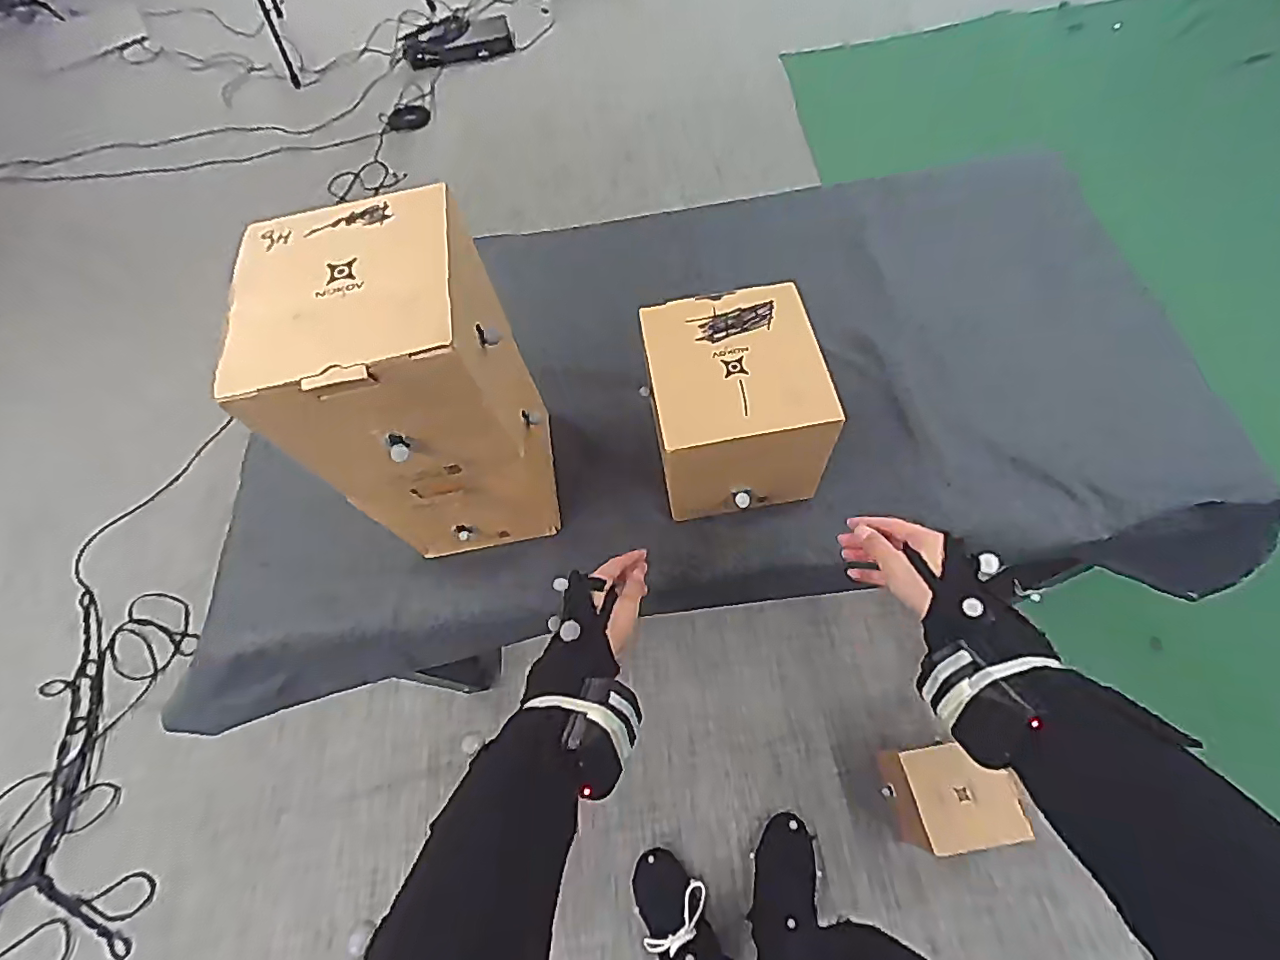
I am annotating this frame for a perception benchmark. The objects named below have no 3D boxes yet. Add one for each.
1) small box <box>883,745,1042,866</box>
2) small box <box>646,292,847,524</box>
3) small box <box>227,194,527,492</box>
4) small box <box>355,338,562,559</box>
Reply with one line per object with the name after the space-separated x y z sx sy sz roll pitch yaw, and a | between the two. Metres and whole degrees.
0.588 0.601 1.015 0.179 0.176 0.168 -12 61 2 | small box
0.104 -0.072 0.596 0.168 0.176 0.179 -10 62 2 | small box
-0.204 -0.103 0.468 0.168 0.176 0.179 -12 63 0 | small box
-0.192 -0.029 0.614 0.168 0.176 0.179 -11 62 1 | small box
